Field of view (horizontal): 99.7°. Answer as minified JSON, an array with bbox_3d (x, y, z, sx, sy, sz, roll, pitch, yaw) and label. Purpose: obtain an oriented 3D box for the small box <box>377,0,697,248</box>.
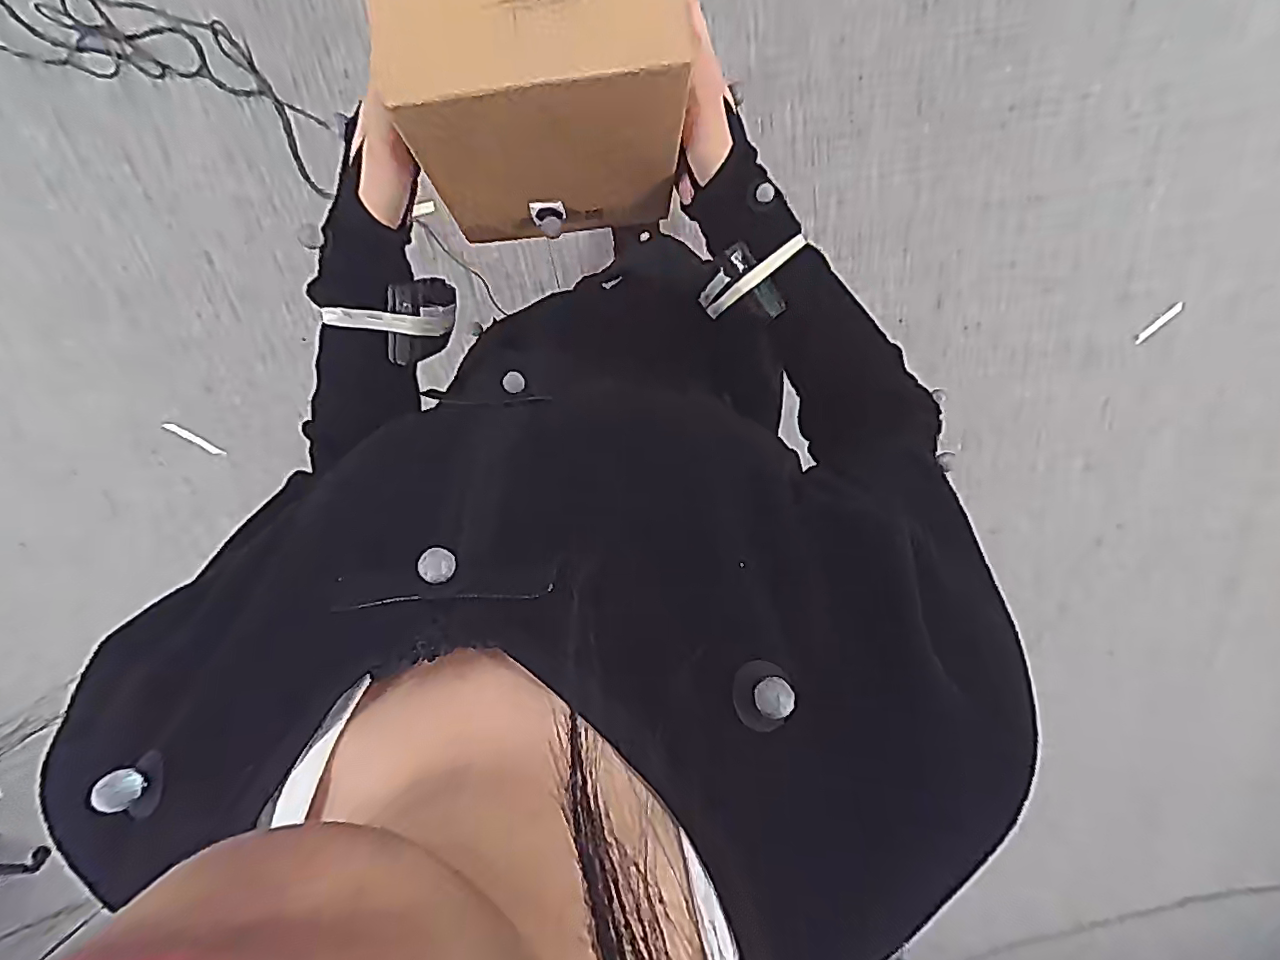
[{"bbox_3d":[-0.065,-0.289,0.368,0.168,0.176,0.179,-10,90,-1],"label":"small box"}]
